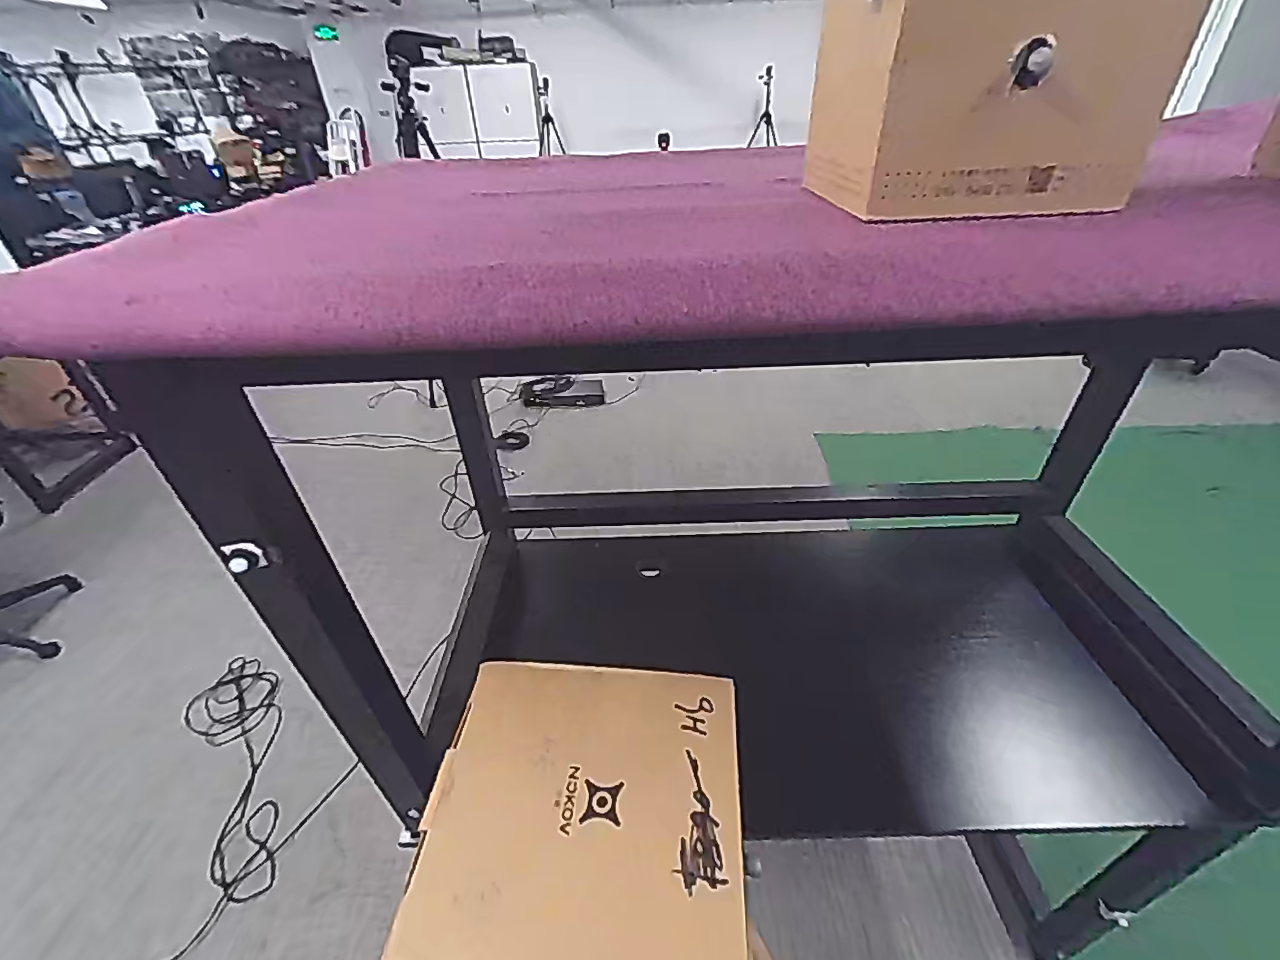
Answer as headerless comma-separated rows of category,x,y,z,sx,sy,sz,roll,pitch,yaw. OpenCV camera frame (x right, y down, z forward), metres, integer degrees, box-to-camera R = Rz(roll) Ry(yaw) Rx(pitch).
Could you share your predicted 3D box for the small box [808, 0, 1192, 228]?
small box,0.228,-0.280,0.378,0.168,0.176,0.179,-1,35,1
